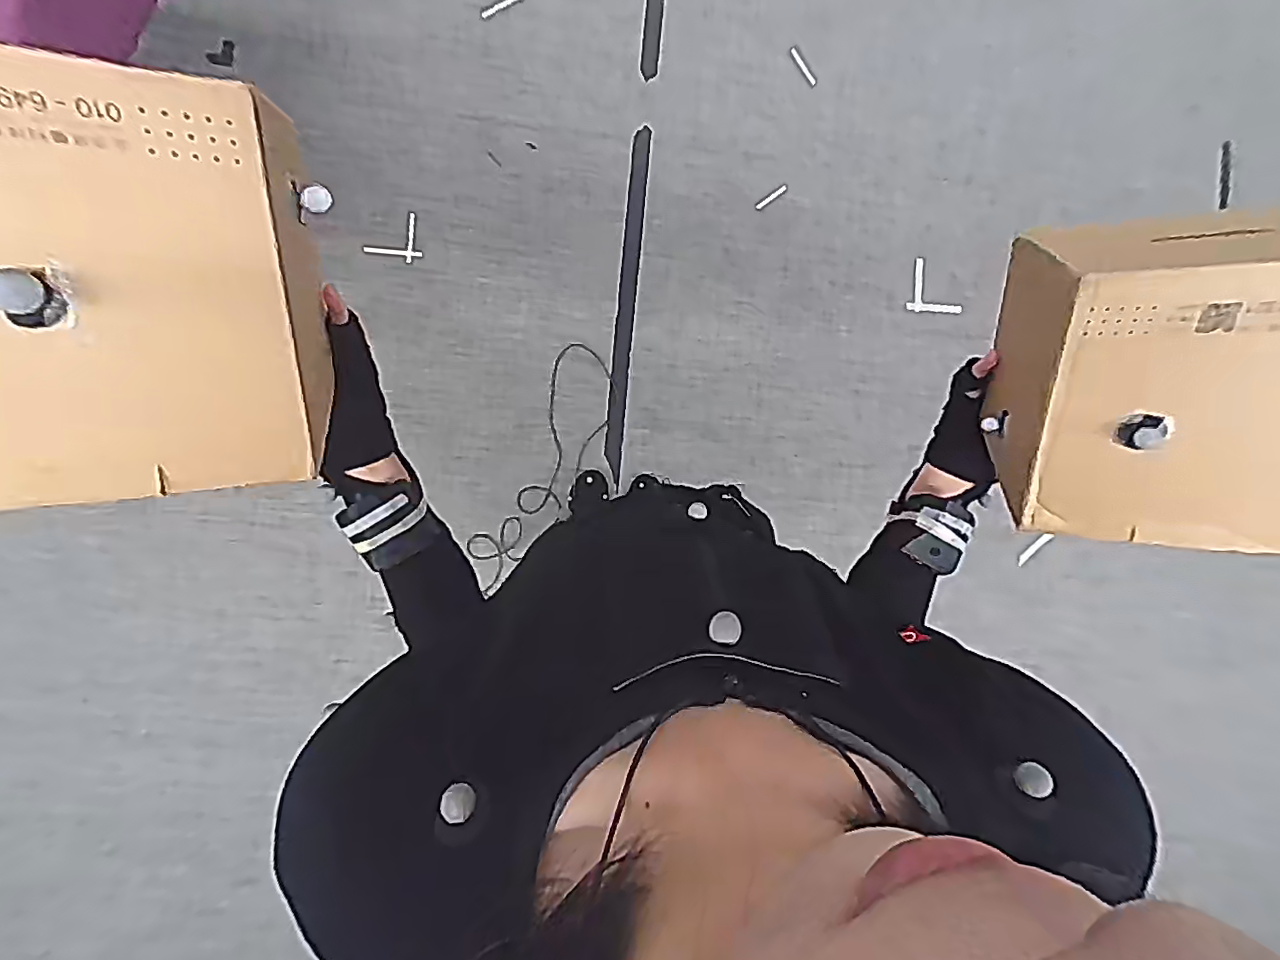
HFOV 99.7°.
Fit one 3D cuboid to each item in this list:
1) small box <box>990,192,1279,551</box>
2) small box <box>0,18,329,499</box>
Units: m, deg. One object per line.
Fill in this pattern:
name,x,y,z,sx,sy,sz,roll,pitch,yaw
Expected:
small box,0.344,-0.075,0.341,0.168,0.179,0.176,5,122,21
small box,-0.257,-0.104,0.257,0.168,0.179,0.176,-5,118,-24
